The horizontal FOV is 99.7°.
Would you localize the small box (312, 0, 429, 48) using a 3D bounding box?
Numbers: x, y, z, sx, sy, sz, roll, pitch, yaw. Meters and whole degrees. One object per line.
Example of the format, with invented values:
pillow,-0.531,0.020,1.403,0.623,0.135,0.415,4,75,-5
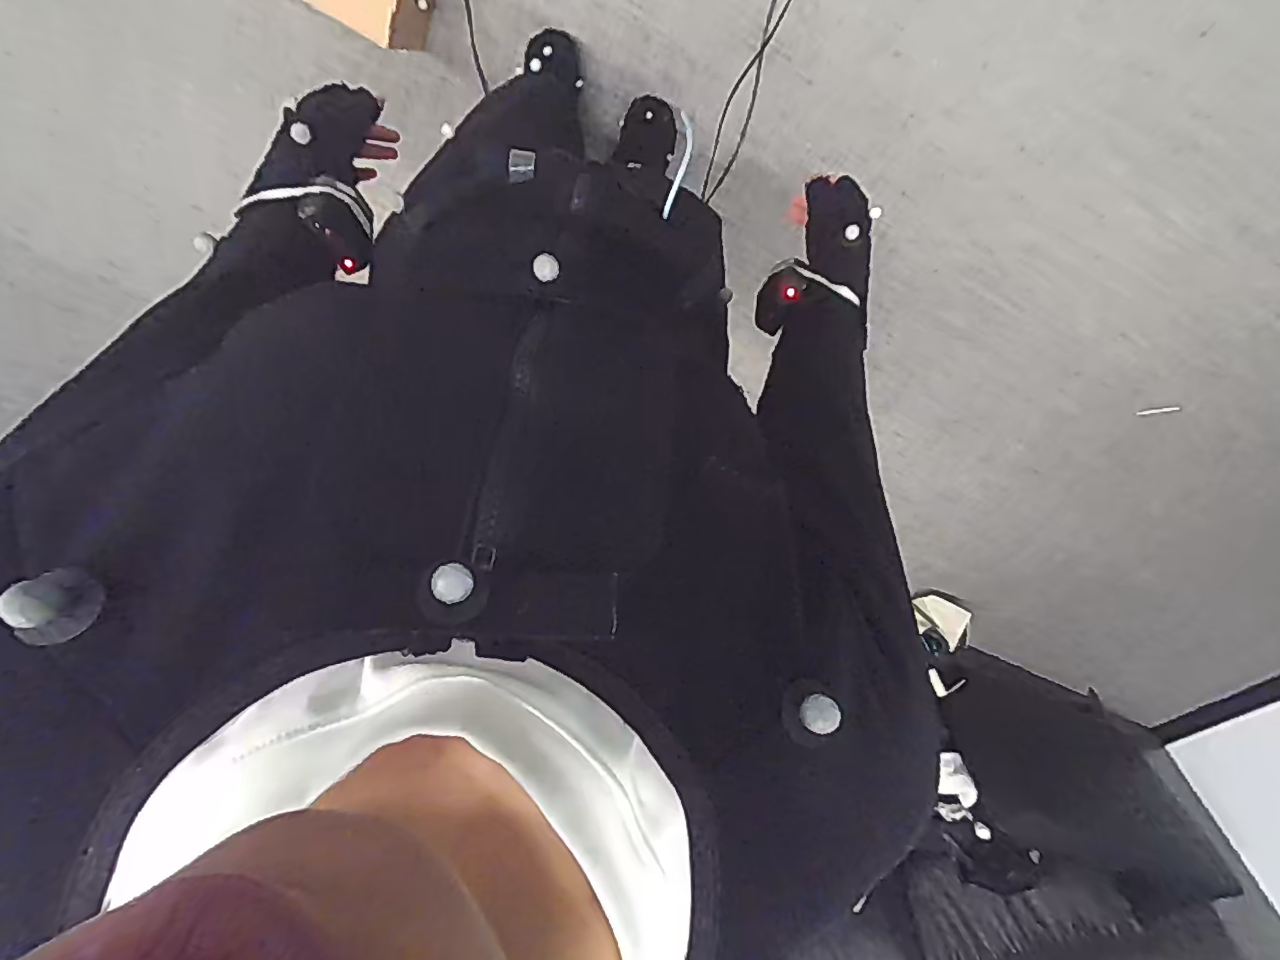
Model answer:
small box,-0.480,-0.913,0.959,0.179,0.176,0.168,25,127,-14
